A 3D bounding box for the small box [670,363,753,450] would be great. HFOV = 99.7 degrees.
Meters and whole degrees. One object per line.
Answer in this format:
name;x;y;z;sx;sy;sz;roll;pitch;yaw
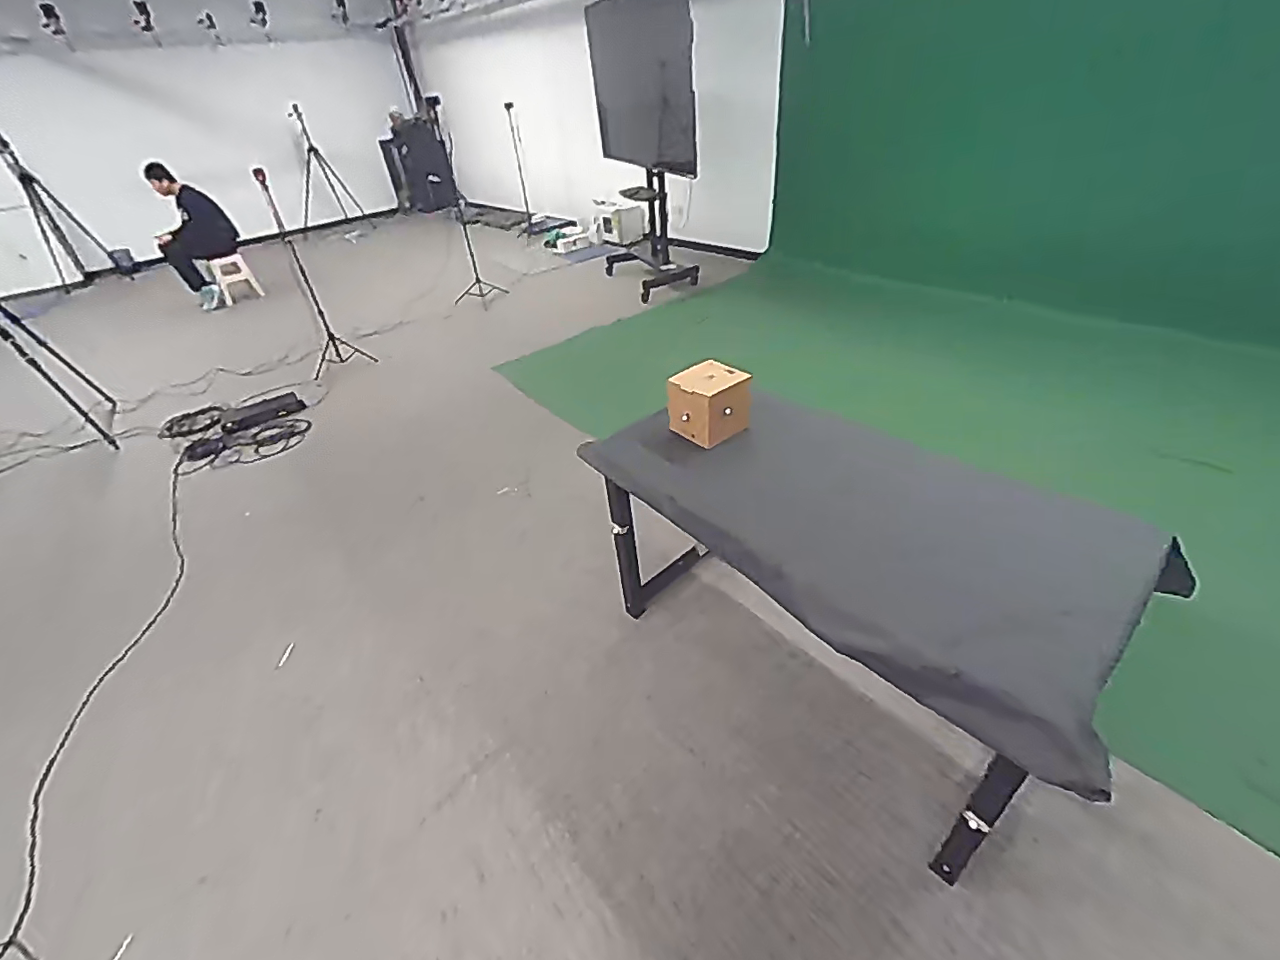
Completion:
small box;0.210;-0.212;1.568;0.179;0.176;0.168;-30;43;-28
